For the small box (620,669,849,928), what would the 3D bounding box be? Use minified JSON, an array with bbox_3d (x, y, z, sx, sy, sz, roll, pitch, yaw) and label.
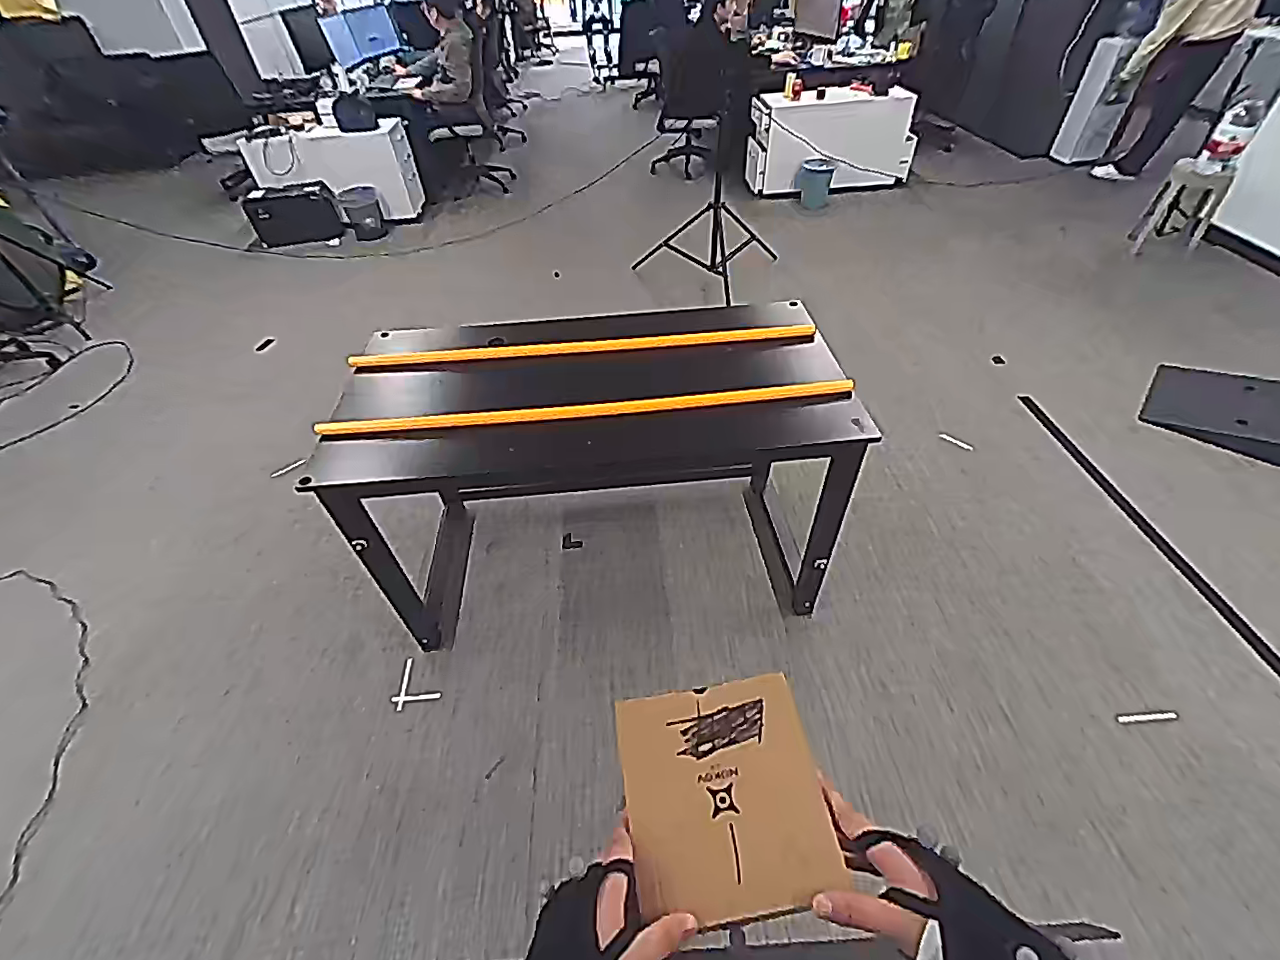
[{"bbox_3d":[0.076,0.312,0.529,0.168,0.176,0.179,-10,49,-2],"label":"small box"}]
